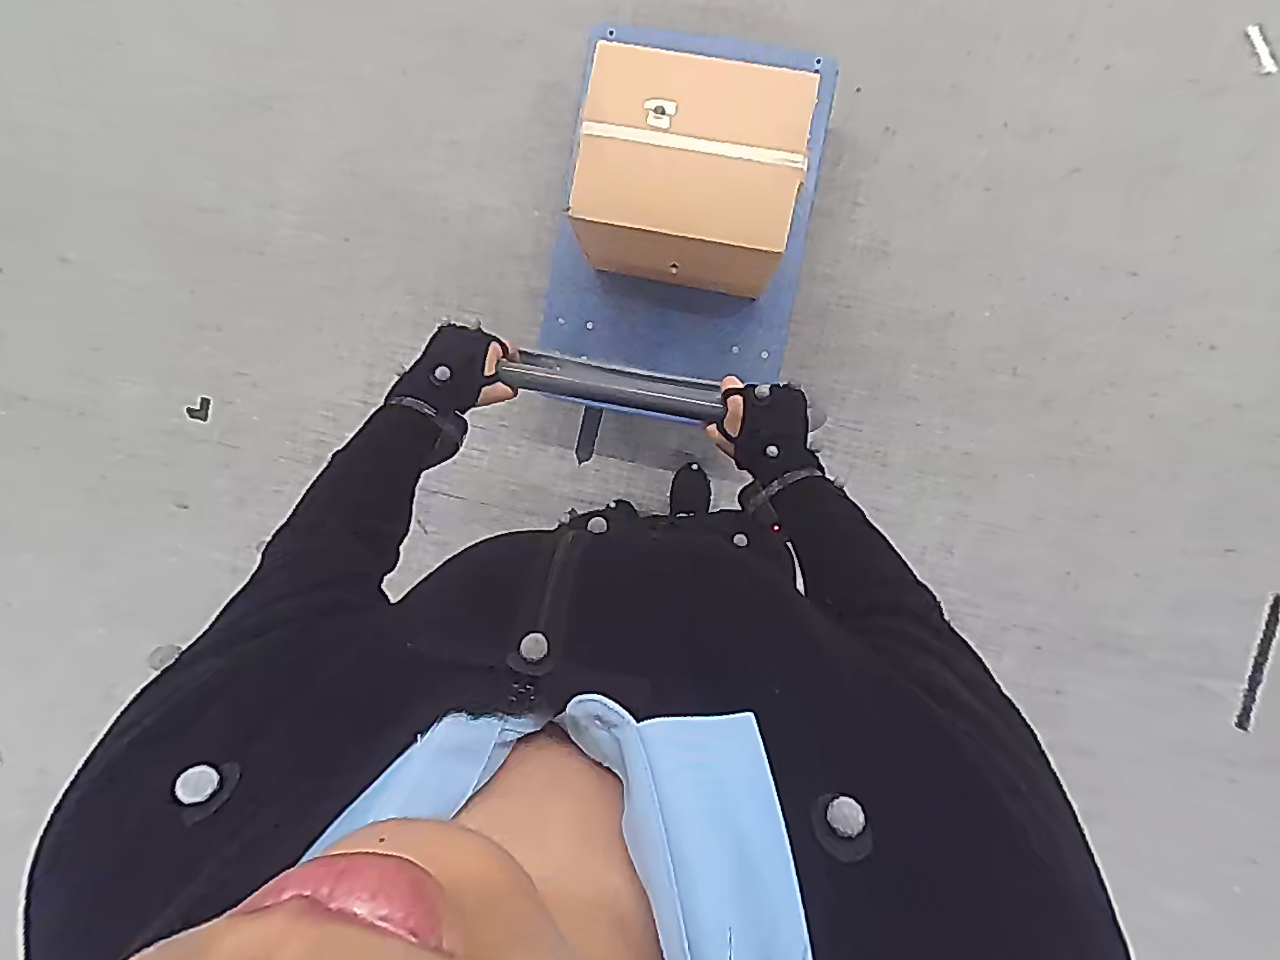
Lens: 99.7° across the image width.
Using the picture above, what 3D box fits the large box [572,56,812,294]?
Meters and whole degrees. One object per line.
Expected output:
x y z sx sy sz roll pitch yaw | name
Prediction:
0.105 -0.608 1.138 0.408 0.320 0.320 11 94 4 | large box
